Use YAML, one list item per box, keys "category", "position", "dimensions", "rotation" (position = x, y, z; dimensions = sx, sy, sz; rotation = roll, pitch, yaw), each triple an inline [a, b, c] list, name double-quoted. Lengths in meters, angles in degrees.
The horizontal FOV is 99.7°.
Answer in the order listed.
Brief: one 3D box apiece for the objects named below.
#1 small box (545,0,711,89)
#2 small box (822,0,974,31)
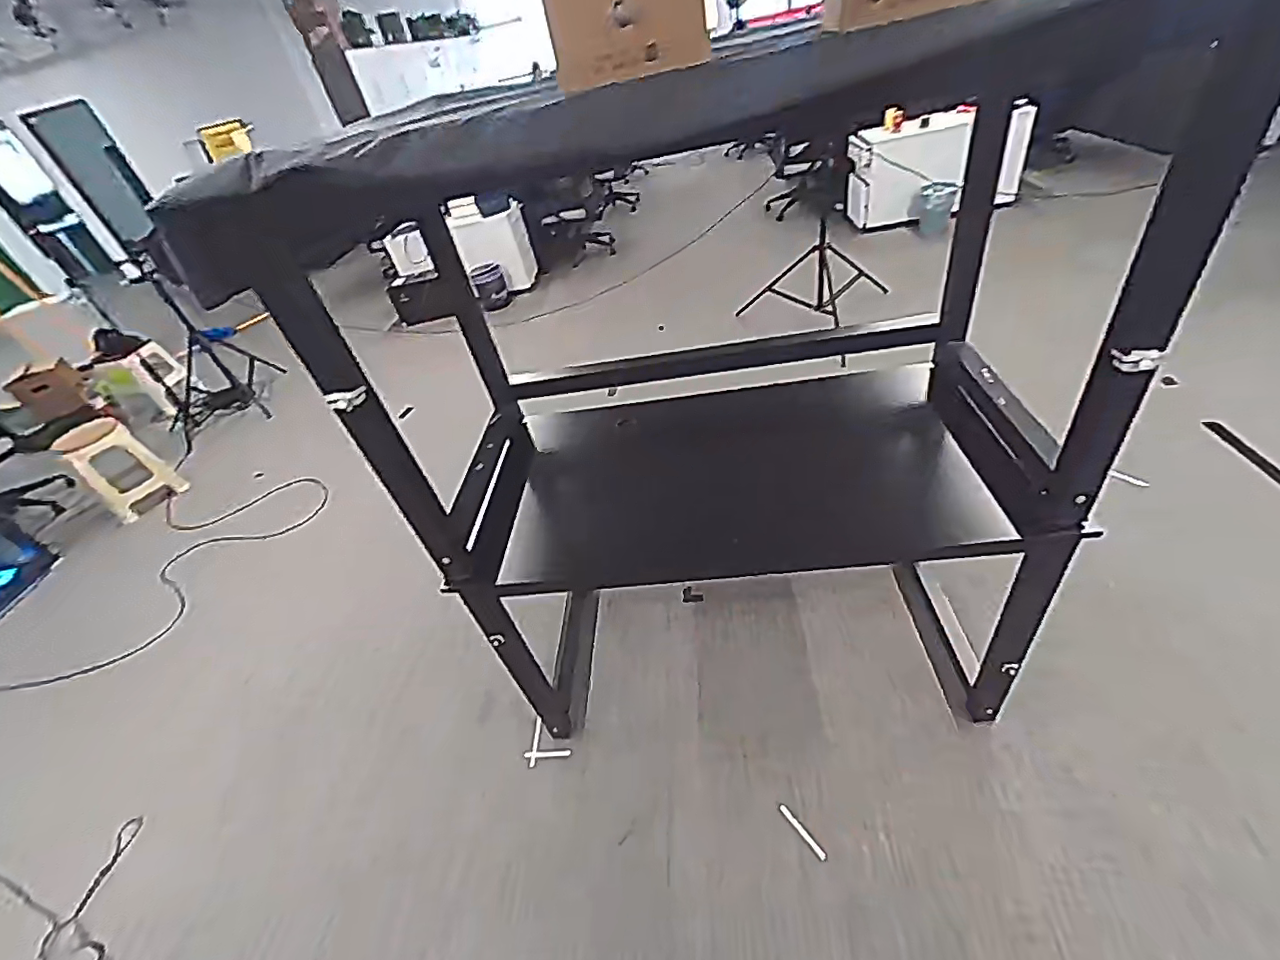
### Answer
- category: "small box"
  position: [-0.013, -0.548, 0.594]
  dimensions: [0.168, 0.176, 0.179]
  rotation: [-6, 38, 11]
- category: "small box"
  position: [0.281, -0.582, 0.549]
  dimensions: [0.168, 0.176, 0.179]
  rotation: [-4, 39, 12]
